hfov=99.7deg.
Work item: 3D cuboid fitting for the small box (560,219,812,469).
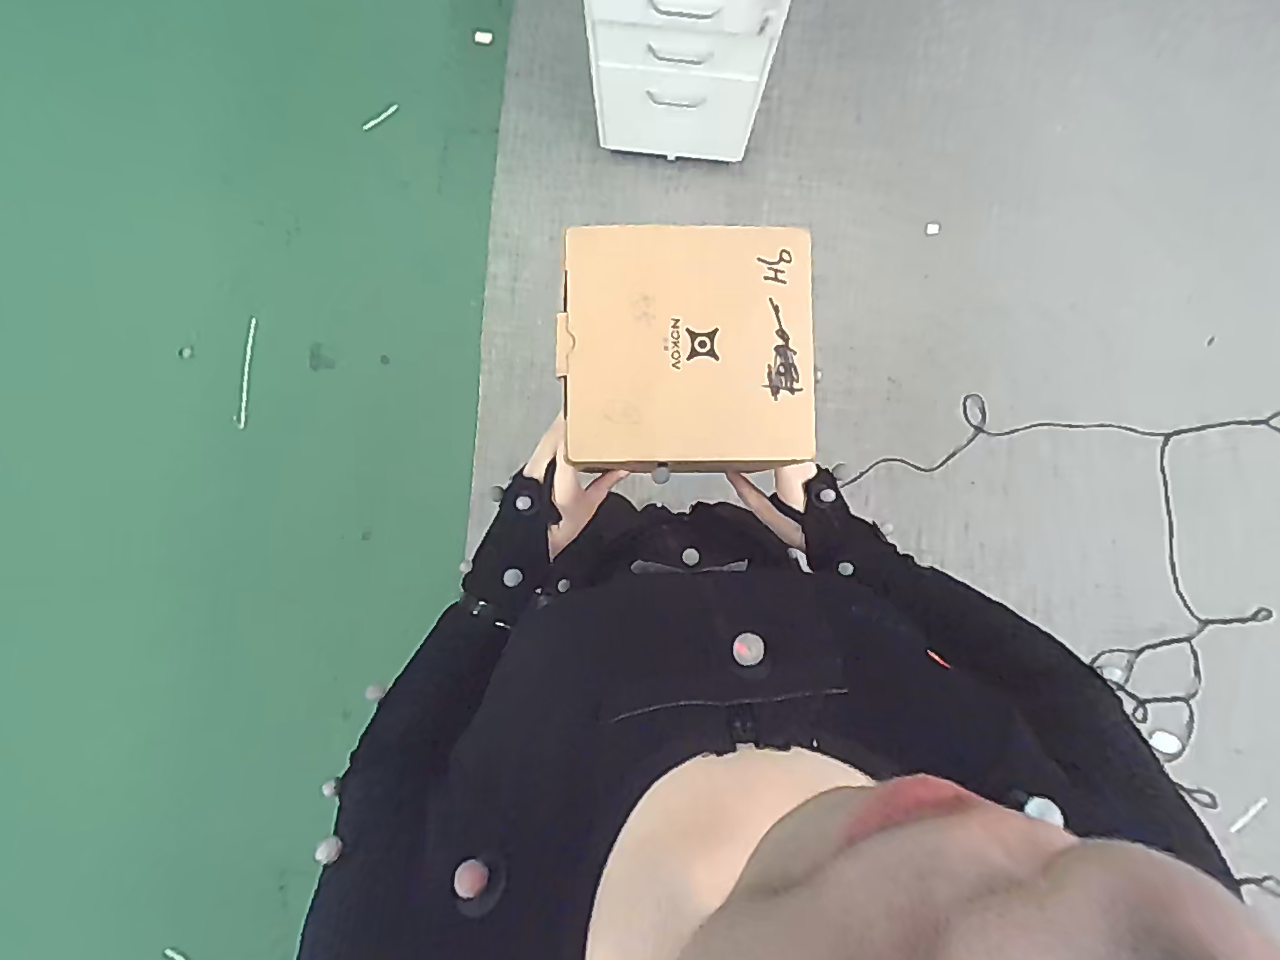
[{"bbox_3d":[0.031,-0.095,0.454,0.179,0.176,0.168,0,88,-2],"label":"small box"}]
